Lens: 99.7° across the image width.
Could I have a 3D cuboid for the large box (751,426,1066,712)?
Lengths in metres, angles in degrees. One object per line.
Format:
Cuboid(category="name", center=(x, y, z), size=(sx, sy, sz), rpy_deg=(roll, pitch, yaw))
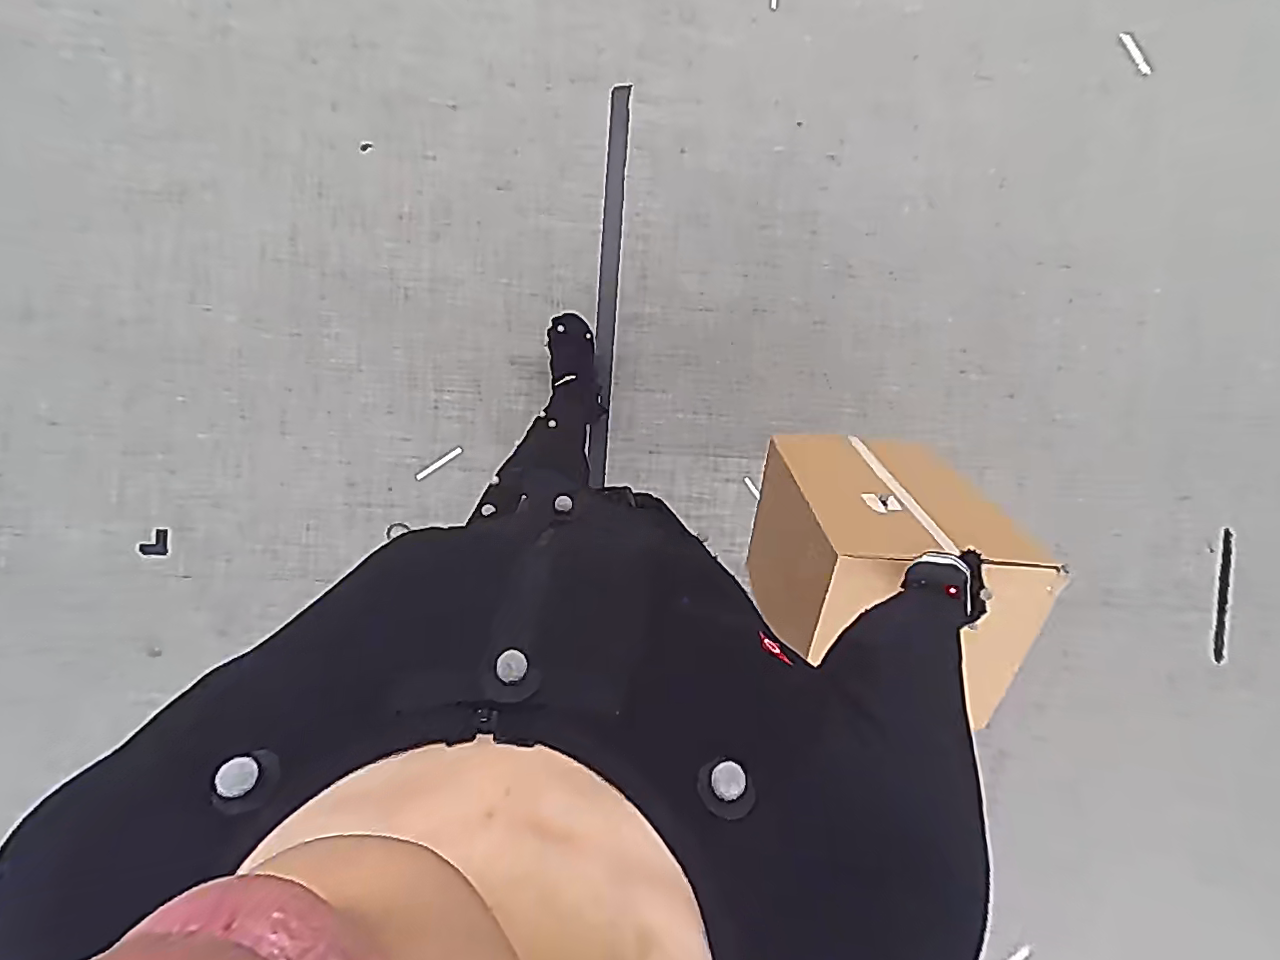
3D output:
Cuboid(category="large box", center=(0.406, 0.136, 0.960), size=(0.320, 0.408, 0.320), rpy_deg=(3, 120, -1))
